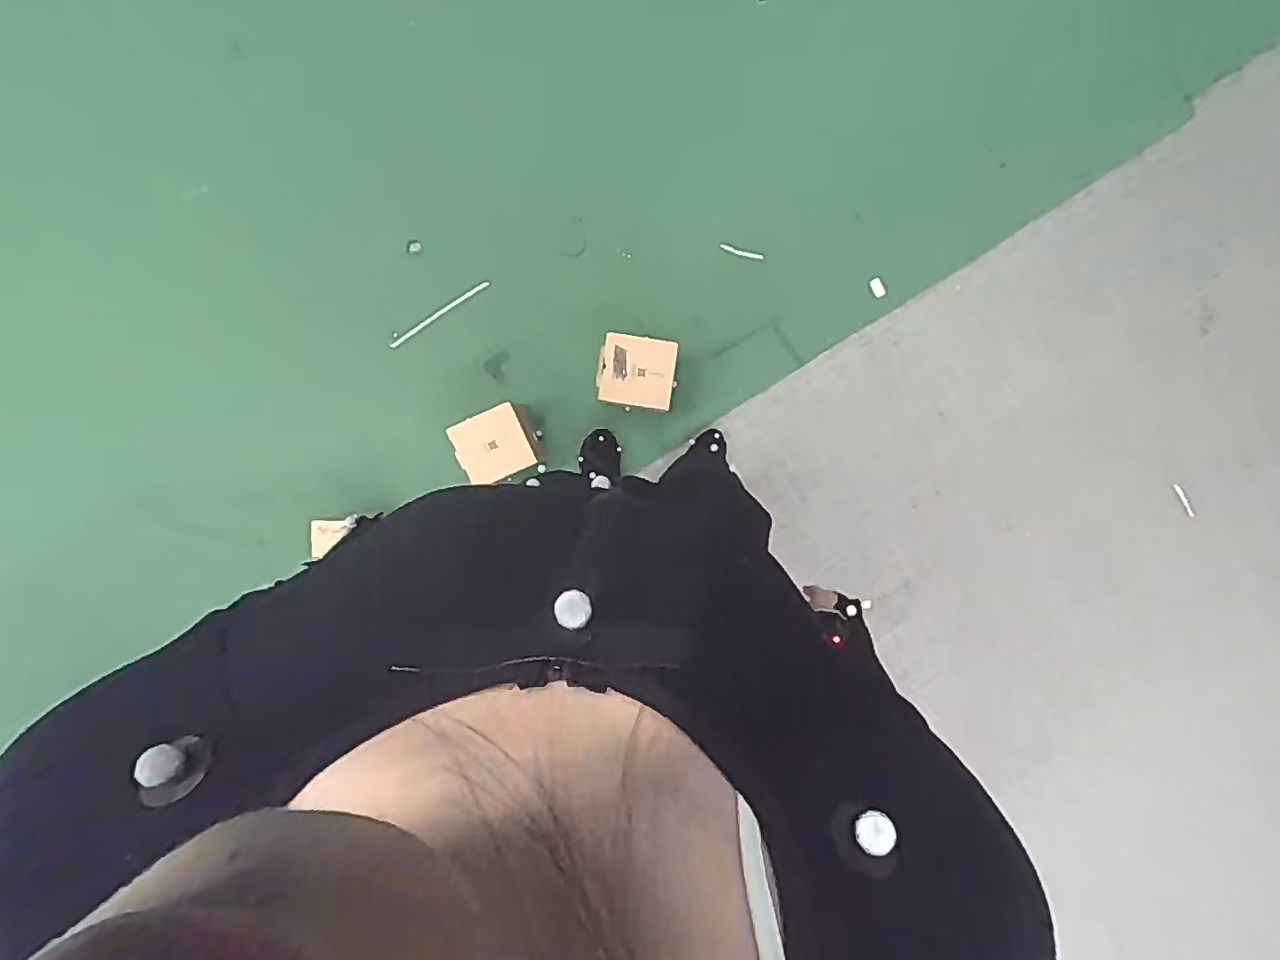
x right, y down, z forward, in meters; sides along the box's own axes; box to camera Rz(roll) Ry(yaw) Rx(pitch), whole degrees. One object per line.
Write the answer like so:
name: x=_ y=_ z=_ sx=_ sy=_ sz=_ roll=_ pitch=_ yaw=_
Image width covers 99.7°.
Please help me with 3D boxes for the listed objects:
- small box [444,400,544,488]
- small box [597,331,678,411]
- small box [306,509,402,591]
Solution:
small box: x=-0.366 y=-0.092 z=1.387 sx=0.179 sy=0.176 sz=0.168 roll=-24 pitch=97 yaw=1
small box: x=-0.008 y=-0.268 z=1.372 sx=0.179 sy=0.176 sz=0.168 roll=8 pitch=96 yaw=-2
small box: x=-0.737 y=0.178 z=1.411 sx=0.168 sy=0.176 sz=0.179 roll=1 pitch=96 yaw=0
